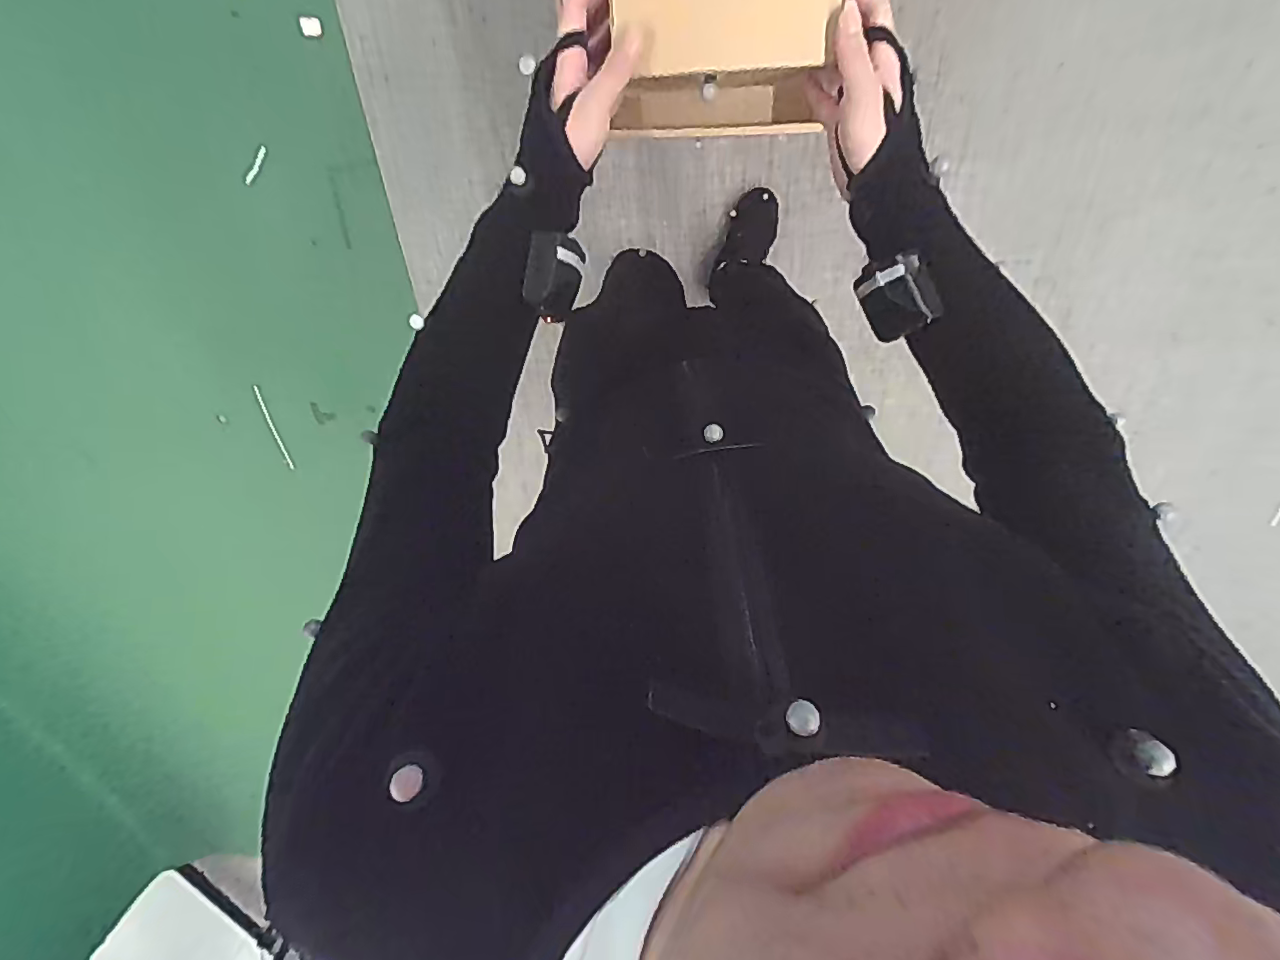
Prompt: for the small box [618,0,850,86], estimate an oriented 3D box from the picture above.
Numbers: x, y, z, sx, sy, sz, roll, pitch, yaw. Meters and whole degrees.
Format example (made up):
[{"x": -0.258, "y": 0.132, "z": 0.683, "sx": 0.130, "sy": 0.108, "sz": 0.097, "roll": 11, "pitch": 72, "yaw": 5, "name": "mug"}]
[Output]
[{"x": 0.070, "y": -0.436, "z": 0.448, "sx": 0.179, "sy": 0.176, "sz": 0.168, "roll": -1, "pitch": 122, "yaw": 1, "name": "small box"}]
